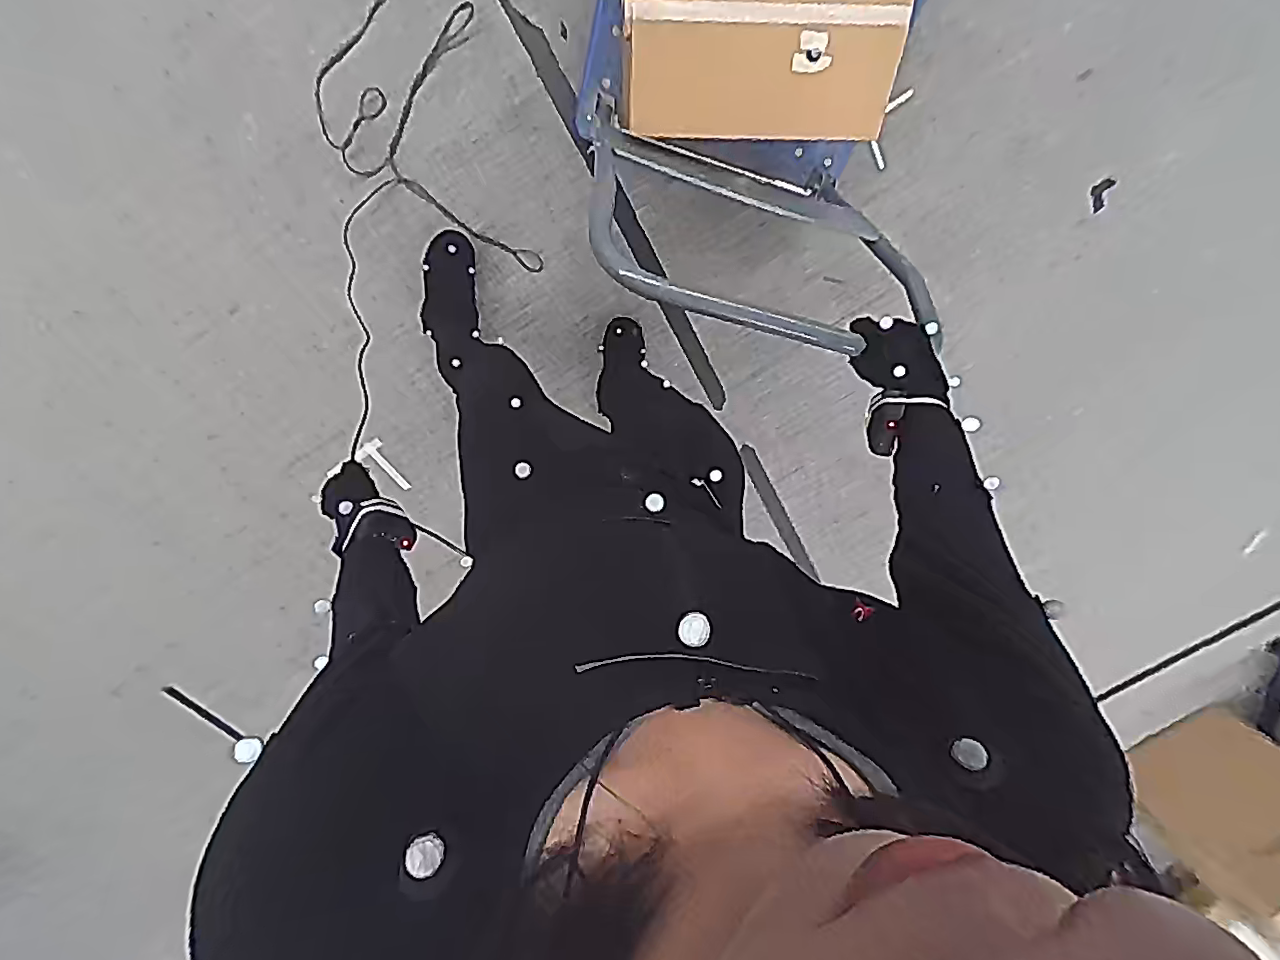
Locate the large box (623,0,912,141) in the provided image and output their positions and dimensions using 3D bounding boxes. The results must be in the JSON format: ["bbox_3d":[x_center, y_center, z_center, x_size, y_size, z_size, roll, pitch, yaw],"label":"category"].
[{"bbox_3d":[0.179,-0.765,0.879,0.408,0.320,0.320,-3,132,-3],"label":"large box"}]
